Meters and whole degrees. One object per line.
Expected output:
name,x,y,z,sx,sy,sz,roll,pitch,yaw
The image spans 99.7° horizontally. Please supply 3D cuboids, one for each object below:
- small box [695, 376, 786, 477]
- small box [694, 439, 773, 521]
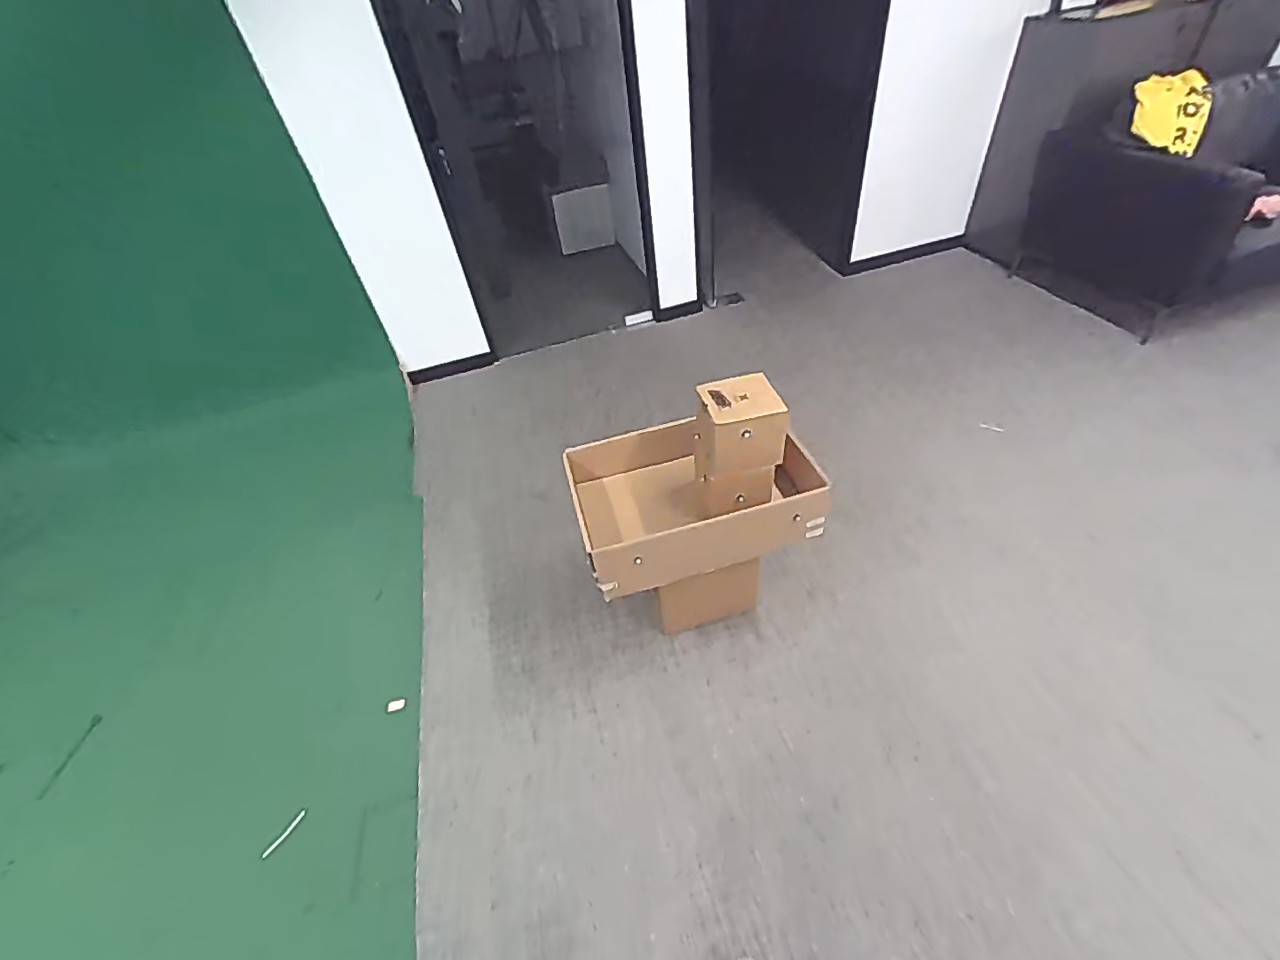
small box,0.243,-0.128,1.330,0.179,0.176,0.168,-12,43,-5
small box,0.247,-0.008,1.442,0.168,0.176,0.179,-11,43,-3
